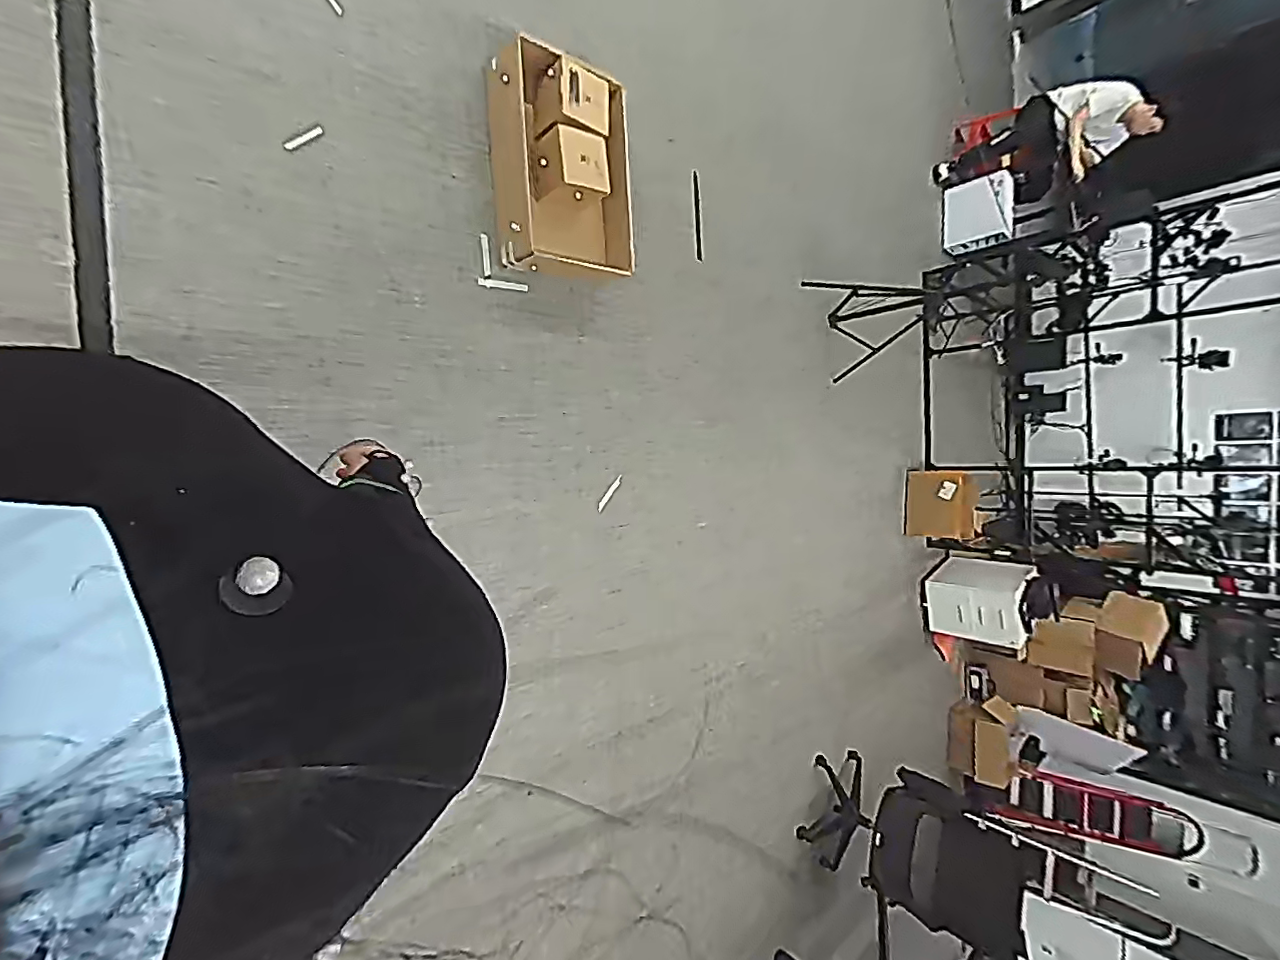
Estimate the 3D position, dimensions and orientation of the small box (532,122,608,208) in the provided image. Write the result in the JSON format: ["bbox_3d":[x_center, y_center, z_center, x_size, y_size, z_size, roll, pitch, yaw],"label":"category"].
[{"bbox_3d":[-0.225,-0.975,1.690,0.179,0.176,0.168,-12,100,-41],"label":"small box"}]
